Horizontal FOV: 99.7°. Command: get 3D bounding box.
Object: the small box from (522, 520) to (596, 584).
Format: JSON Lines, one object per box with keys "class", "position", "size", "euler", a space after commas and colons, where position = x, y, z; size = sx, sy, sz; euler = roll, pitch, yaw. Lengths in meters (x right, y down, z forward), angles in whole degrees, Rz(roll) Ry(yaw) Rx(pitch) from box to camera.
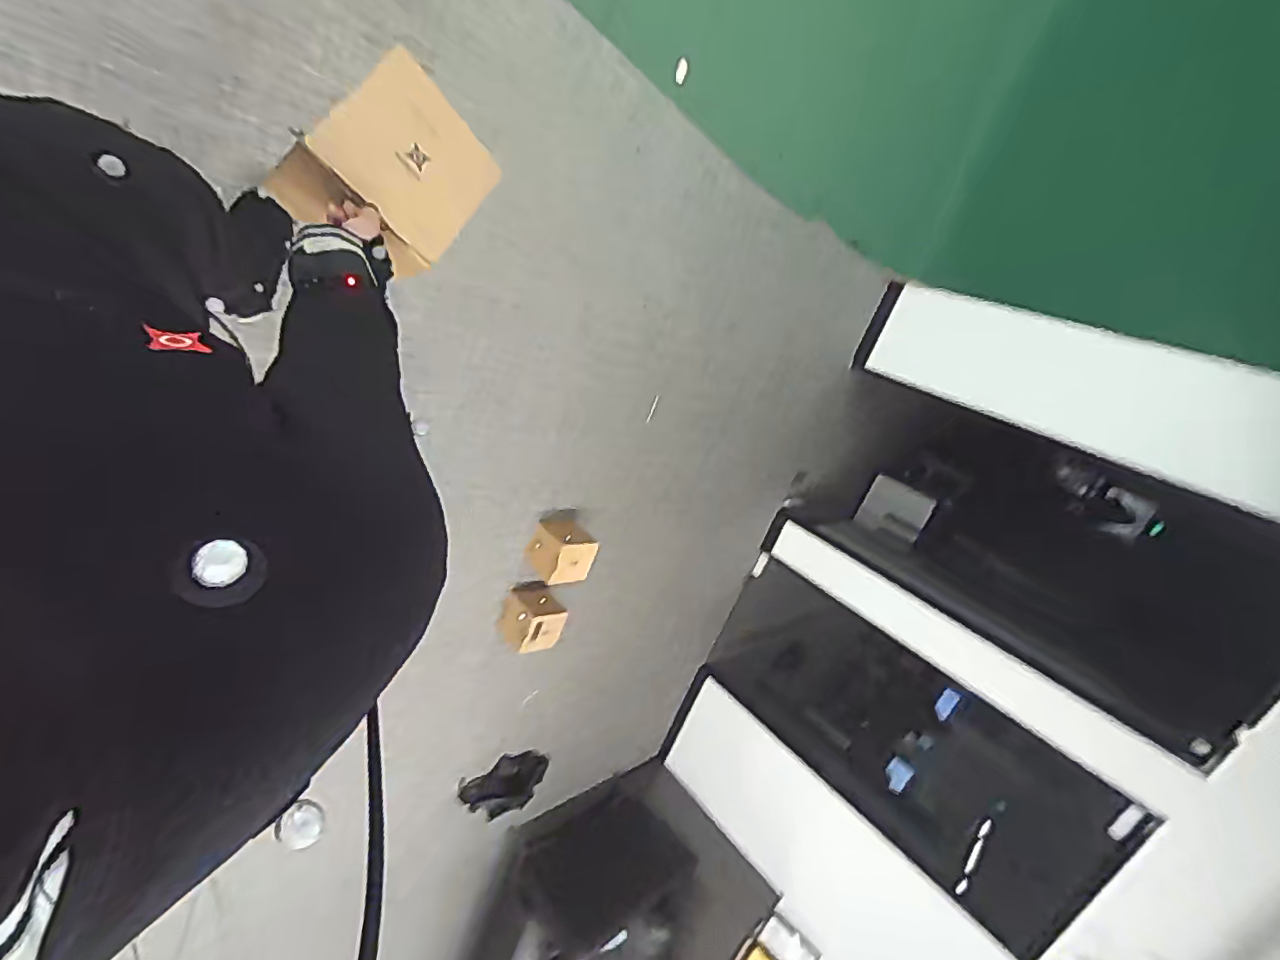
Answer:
{"class": "small box", "position": [-0.296, 0.256, 1.970], "size": [0.179, 0.176, 0.168], "euler": [2, 117, -48]}
